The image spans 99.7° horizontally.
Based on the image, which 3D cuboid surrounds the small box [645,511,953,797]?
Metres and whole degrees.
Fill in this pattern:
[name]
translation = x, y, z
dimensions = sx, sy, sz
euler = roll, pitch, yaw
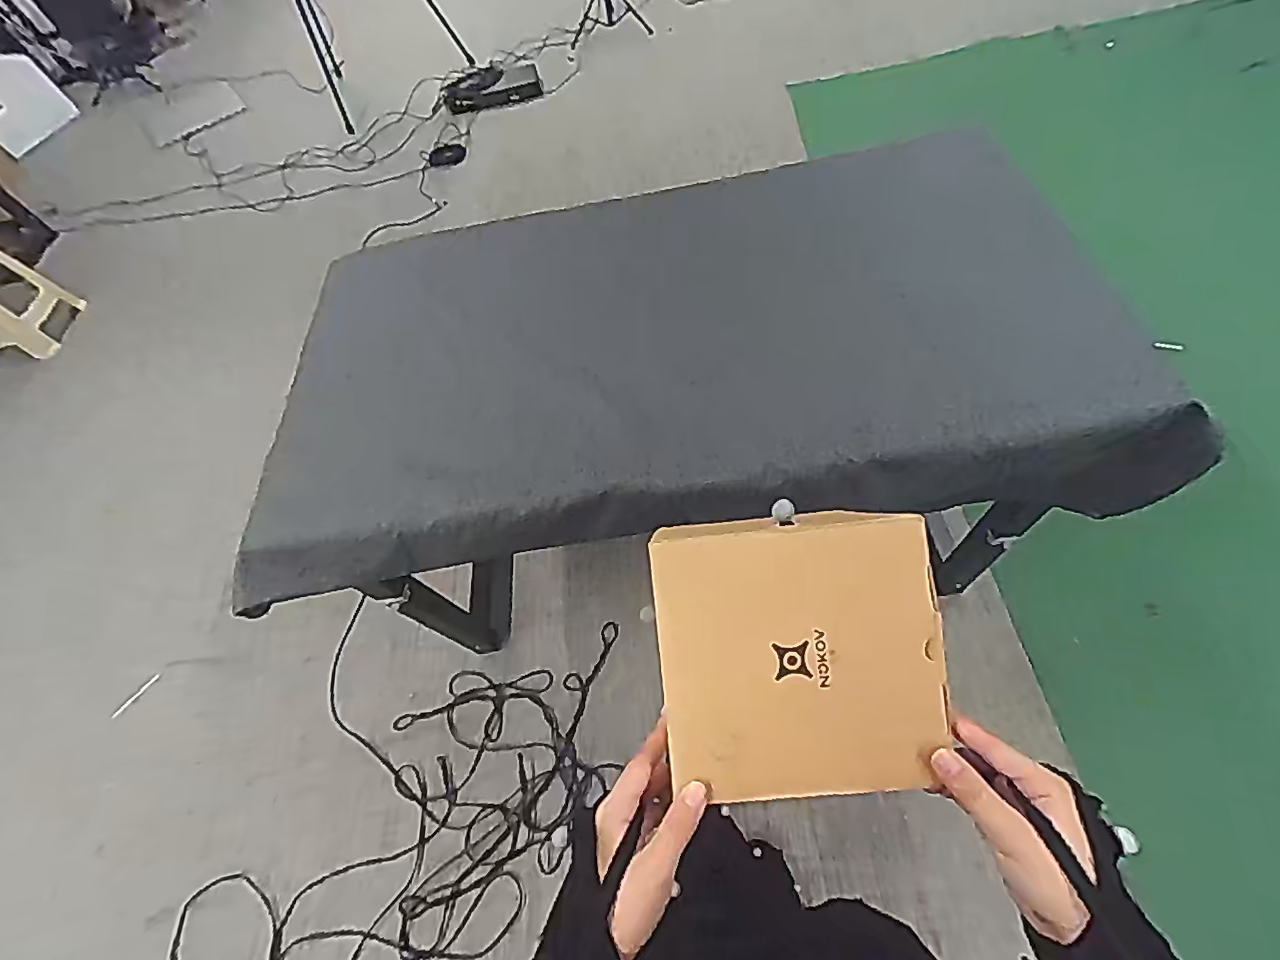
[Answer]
[small box]
translation = 0.101, 0.114, 0.416
dimensions = 0.179, 0.176, 0.168
euler = -6, 87, 2
